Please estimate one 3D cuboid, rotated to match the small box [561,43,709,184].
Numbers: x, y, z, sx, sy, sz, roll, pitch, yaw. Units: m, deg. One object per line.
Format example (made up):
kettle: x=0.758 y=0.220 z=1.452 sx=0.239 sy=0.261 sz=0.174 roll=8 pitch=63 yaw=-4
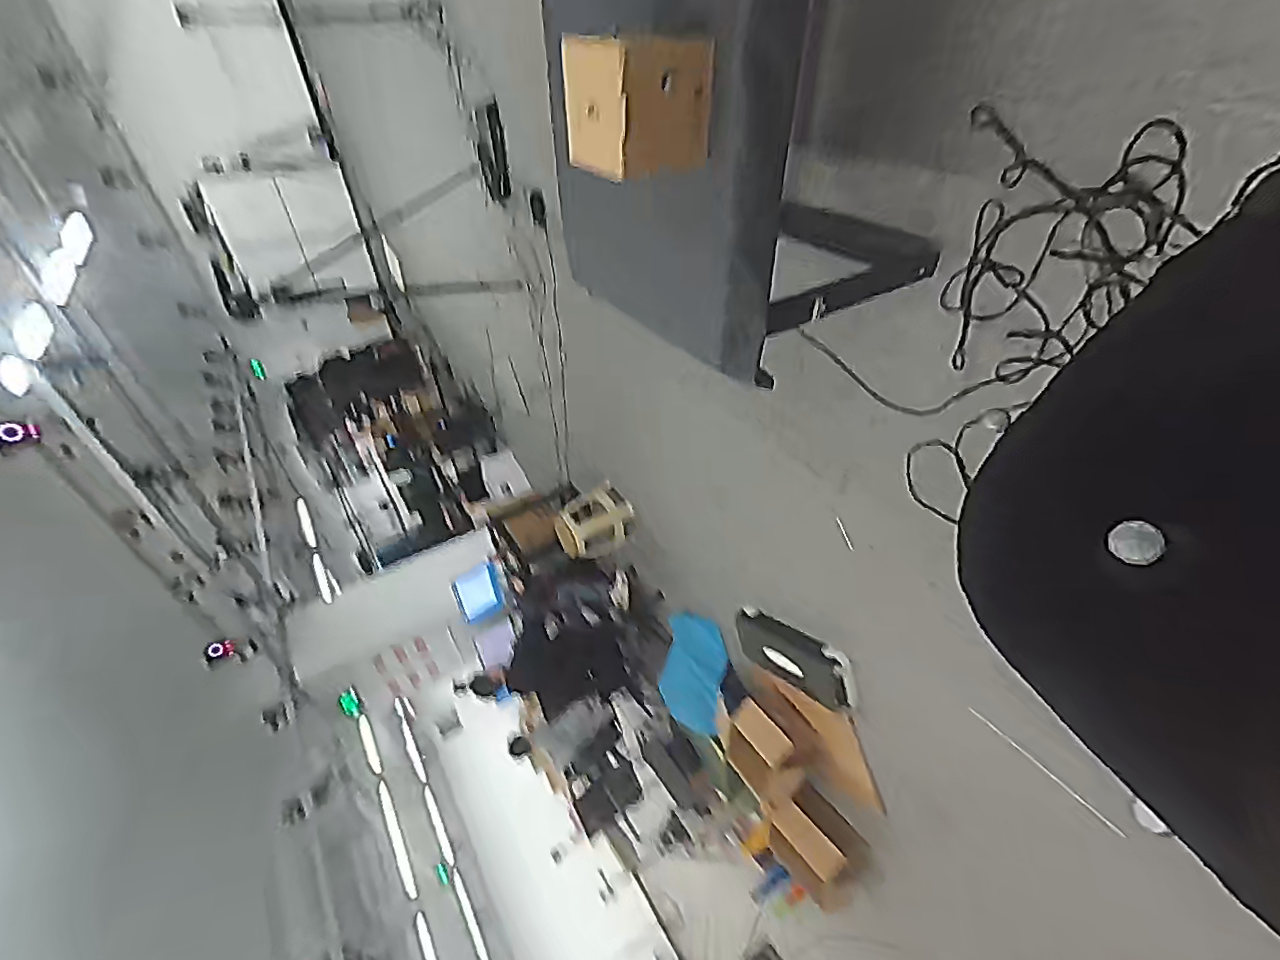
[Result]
small box: x=-0.006 y=-0.593 z=0.869 sx=0.179 sy=0.176 sz=0.168 roll=45 pitch=147 yaw=40
